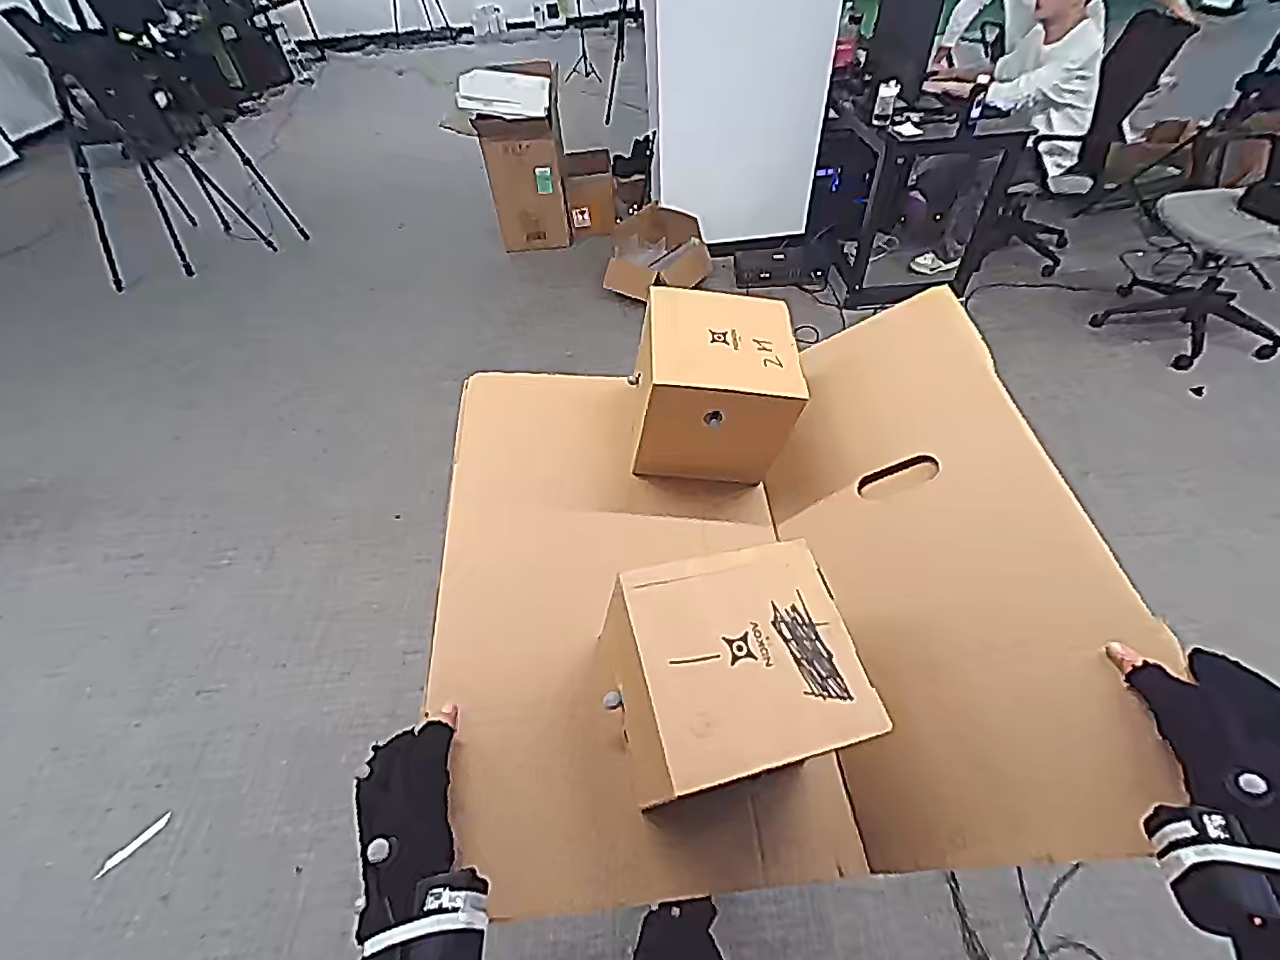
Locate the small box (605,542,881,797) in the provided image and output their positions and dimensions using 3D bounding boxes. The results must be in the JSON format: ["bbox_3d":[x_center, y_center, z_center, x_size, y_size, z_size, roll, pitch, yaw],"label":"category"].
[{"bbox_3d":[0.074,0.177,0.500,0.179,0.176,0.168,-8,58,-14],"label":"small box"}]

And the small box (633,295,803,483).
[{"bbox_3d":[0.086,-0.111,0.699,0.179,0.176,0.168,6,55,-7],"label":"small box"}]
